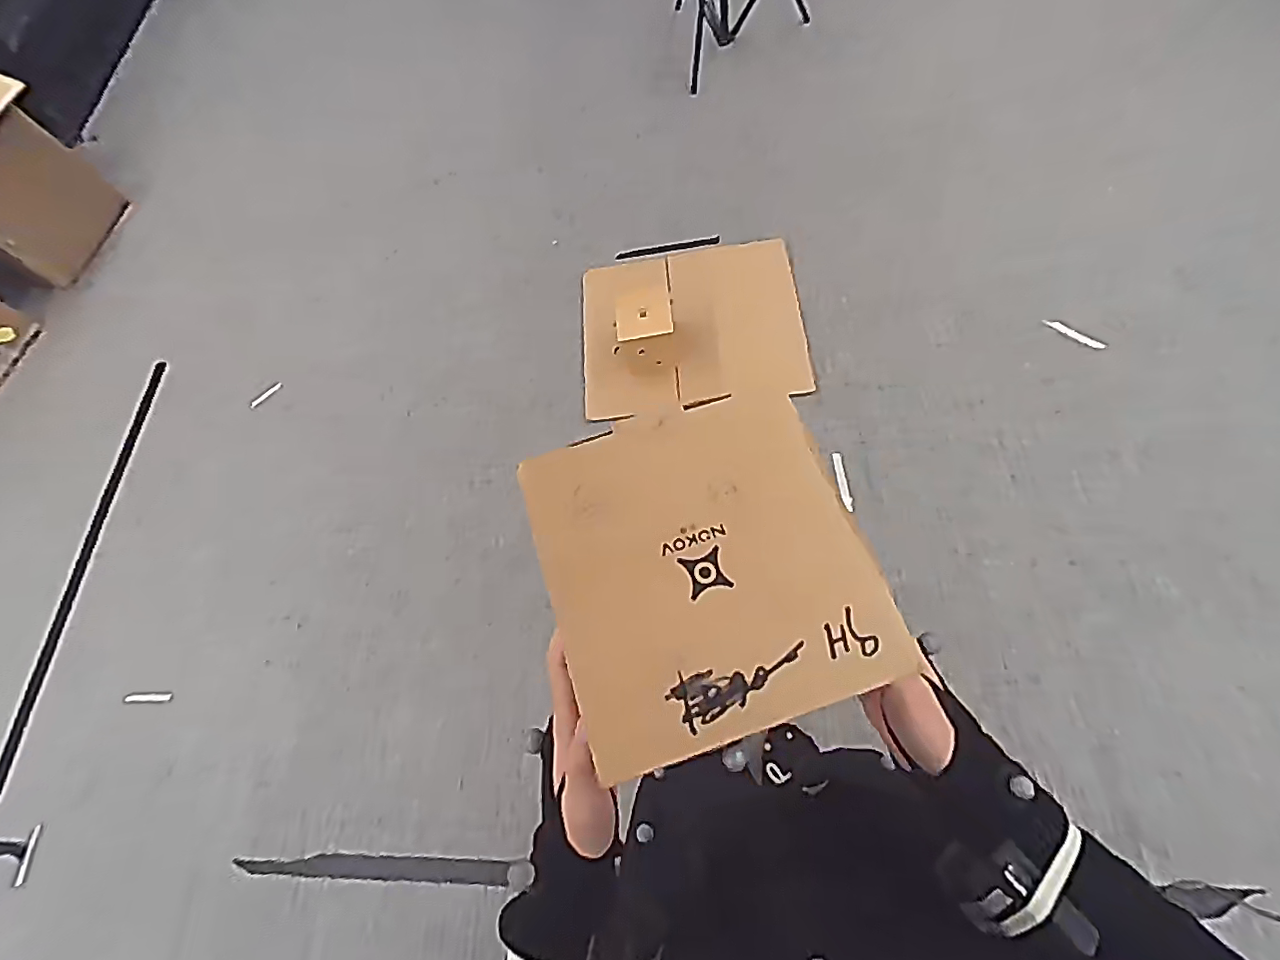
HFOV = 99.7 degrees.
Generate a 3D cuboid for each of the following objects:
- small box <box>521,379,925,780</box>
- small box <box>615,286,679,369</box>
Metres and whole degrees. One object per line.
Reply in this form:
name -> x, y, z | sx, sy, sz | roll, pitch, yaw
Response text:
small box -> 0.038, 0.069, 0.355 | 0.168, 0.176, 0.179 | -19, 68, -2
small box -> 0.023, -0.456, 1.656 | 0.168, 0.176, 0.179 | -8, 66, 7
